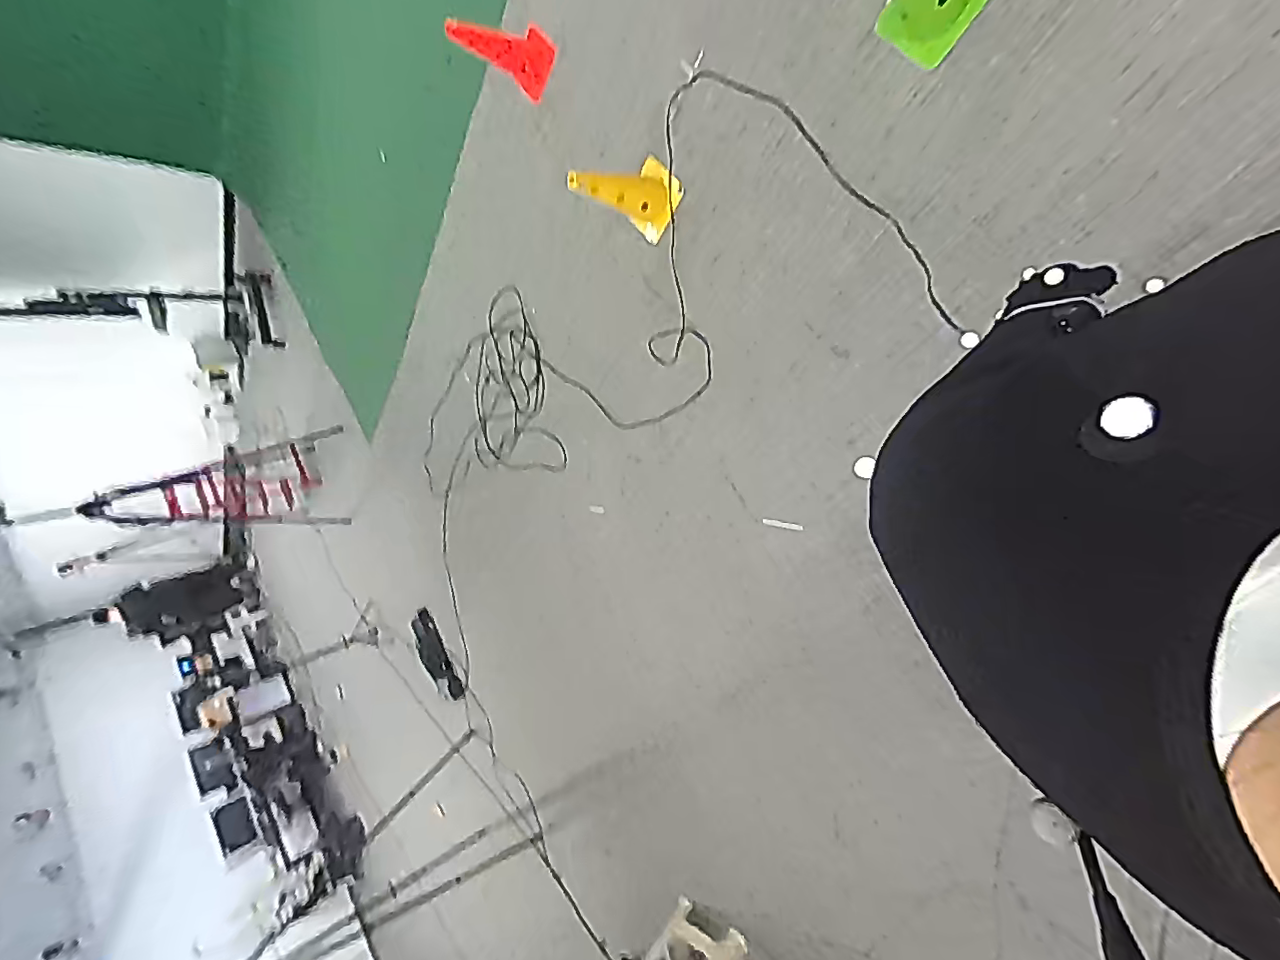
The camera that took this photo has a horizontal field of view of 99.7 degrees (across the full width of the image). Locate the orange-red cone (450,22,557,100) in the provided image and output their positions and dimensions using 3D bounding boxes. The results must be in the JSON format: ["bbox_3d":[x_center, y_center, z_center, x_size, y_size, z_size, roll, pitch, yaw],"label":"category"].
[{"bbox_3d":[-0.507,-1.552,1.934,0.199,0.360,0.198,55,133,16],"label":"orange-red cone"}]

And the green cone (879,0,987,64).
[{"bbox_3d":[0.543,-1.032,1.072,0.200,0.368,0.202,55,133,19],"label":"green cone"}]
